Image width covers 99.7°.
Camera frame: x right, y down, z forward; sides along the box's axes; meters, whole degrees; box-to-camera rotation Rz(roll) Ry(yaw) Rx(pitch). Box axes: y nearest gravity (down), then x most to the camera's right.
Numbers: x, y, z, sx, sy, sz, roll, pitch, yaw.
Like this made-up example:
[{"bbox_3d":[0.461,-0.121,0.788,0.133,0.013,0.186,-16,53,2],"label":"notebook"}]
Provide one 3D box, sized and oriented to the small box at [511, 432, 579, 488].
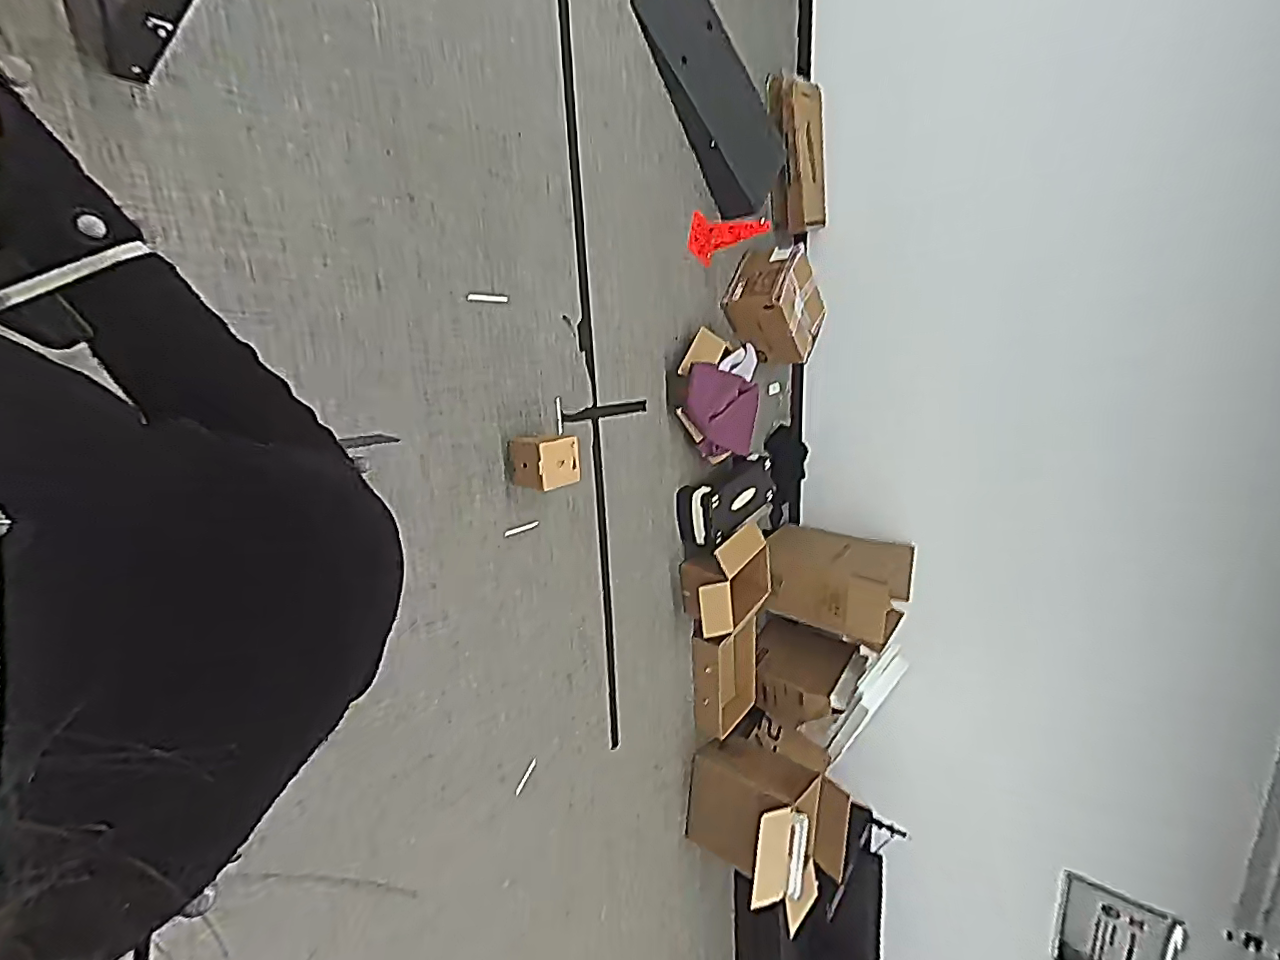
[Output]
[{"bbox_3d":[-0.340,-0.074,1.905,0.179,0.176,0.168,-18,110,-48],"label":"small box"}]
